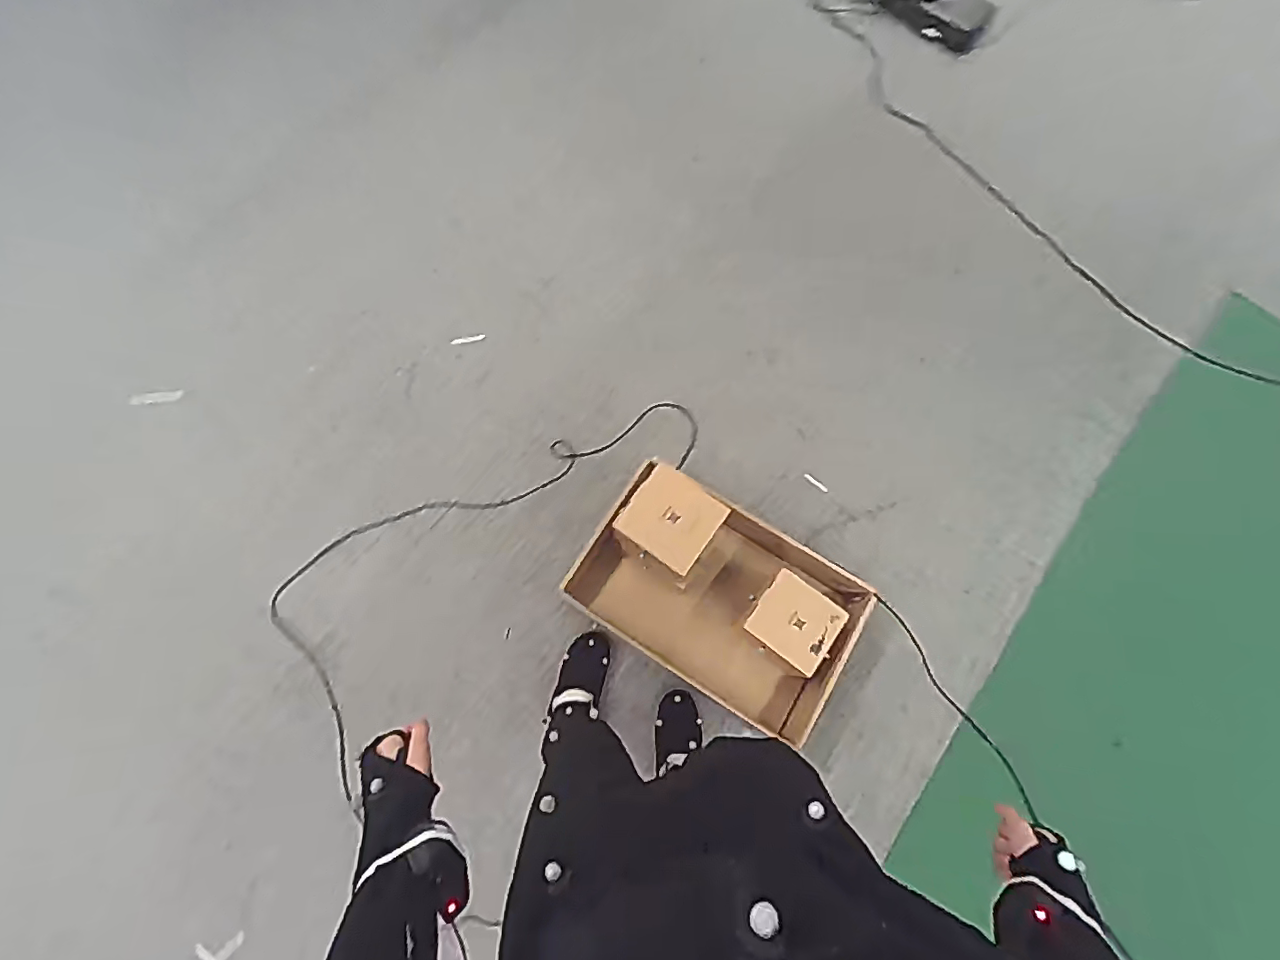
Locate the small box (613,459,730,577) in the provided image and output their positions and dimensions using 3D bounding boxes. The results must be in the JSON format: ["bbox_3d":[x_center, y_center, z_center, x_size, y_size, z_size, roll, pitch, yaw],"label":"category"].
[{"bbox_3d":[0.061,0.089,1.137,0.179,0.176,0.168,37,77,9],"label":"small box"}]

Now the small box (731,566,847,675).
[{"bbox_3d":[0.330,0.325,1.238,0.179,0.176,0.168,37,76,11],"label":"small box"}]
